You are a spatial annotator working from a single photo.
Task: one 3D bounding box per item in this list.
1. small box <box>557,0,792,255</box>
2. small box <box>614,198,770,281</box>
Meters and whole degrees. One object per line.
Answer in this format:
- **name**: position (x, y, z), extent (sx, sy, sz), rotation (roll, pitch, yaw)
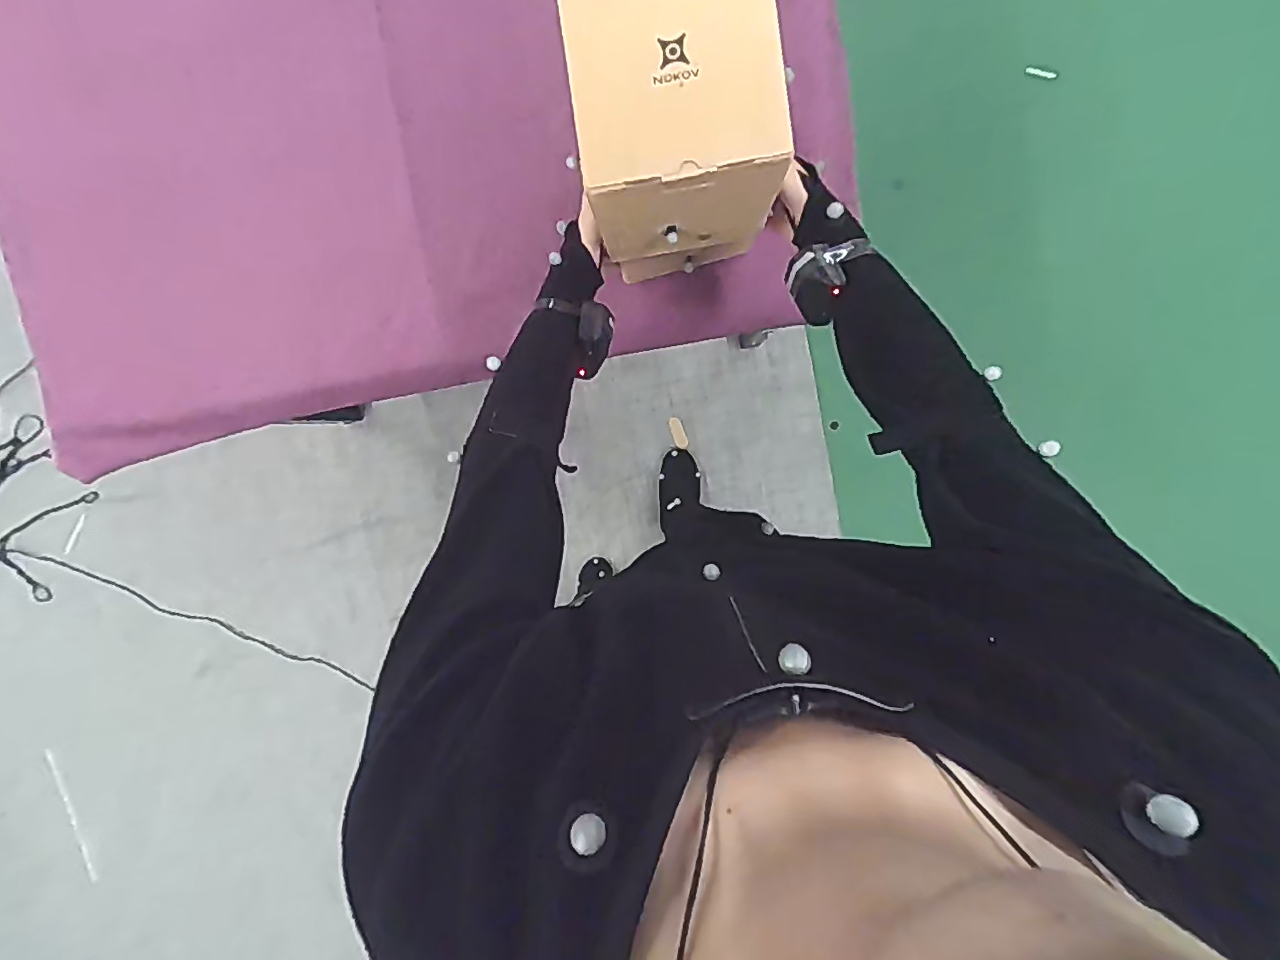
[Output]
- **small box**: position (0.027, -0.330, 0.488), extent (0.168, 0.176, 0.179), rotation (-9, 94, 4)
- **small box**: position (0.039, -0.361, 0.649), extent (0.179, 0.176, 0.168), rotation (-14, 92, 4)
